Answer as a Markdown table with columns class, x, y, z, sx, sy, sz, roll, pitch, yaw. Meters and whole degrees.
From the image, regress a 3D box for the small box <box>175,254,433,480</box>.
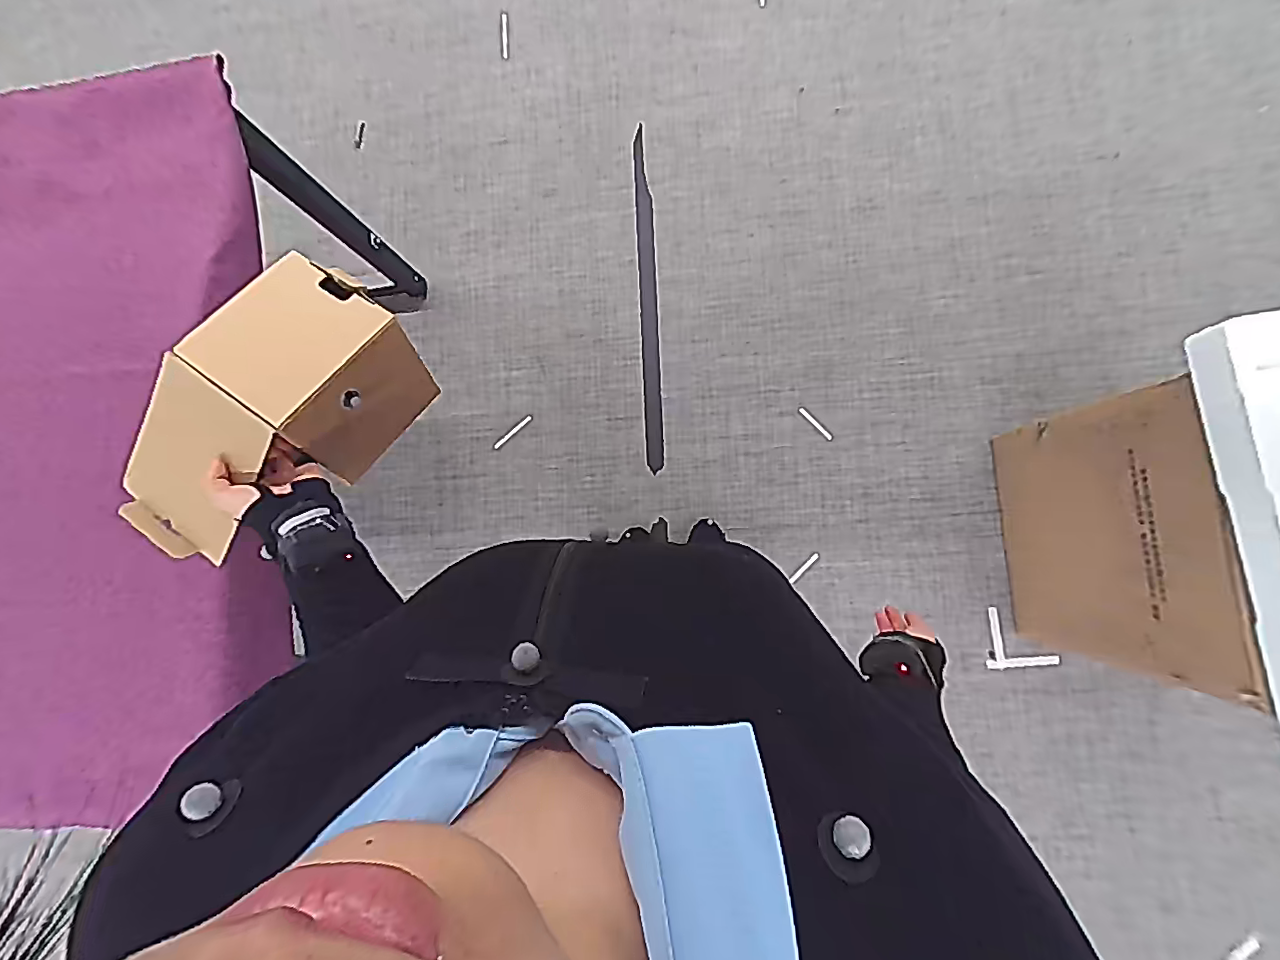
| class | x | y | z | sx | sy | sz | roll | pitch | yaw |
| --- | --- | --- | --- | --- | --- | --- | --- | --- | --- |
| small box | -0.389 | -0.128 | 0.666 | 0.168 | 0.176 | 0.179 | 33 | 71 | 10 |
